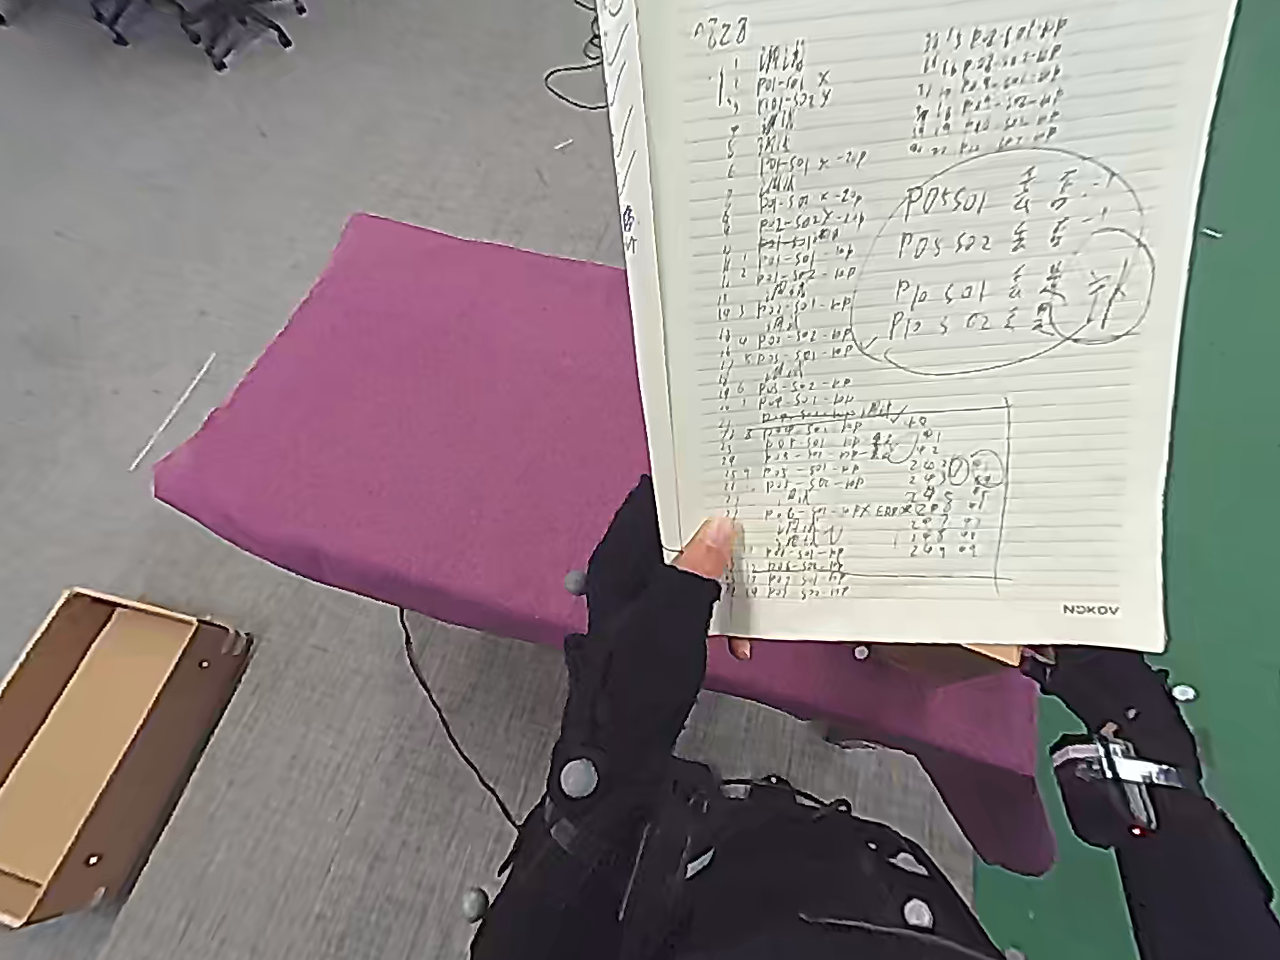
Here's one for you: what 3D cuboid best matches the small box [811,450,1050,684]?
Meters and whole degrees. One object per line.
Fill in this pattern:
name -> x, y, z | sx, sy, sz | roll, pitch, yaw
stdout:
small box -> 0.302, 0.102, 0.593 | 0.168, 0.176, 0.179 | 21, 68, 16

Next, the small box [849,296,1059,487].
small box -> 0.380, -0.091, 0.678 | 0.168, 0.176, 0.179 | 19, 67, 14
